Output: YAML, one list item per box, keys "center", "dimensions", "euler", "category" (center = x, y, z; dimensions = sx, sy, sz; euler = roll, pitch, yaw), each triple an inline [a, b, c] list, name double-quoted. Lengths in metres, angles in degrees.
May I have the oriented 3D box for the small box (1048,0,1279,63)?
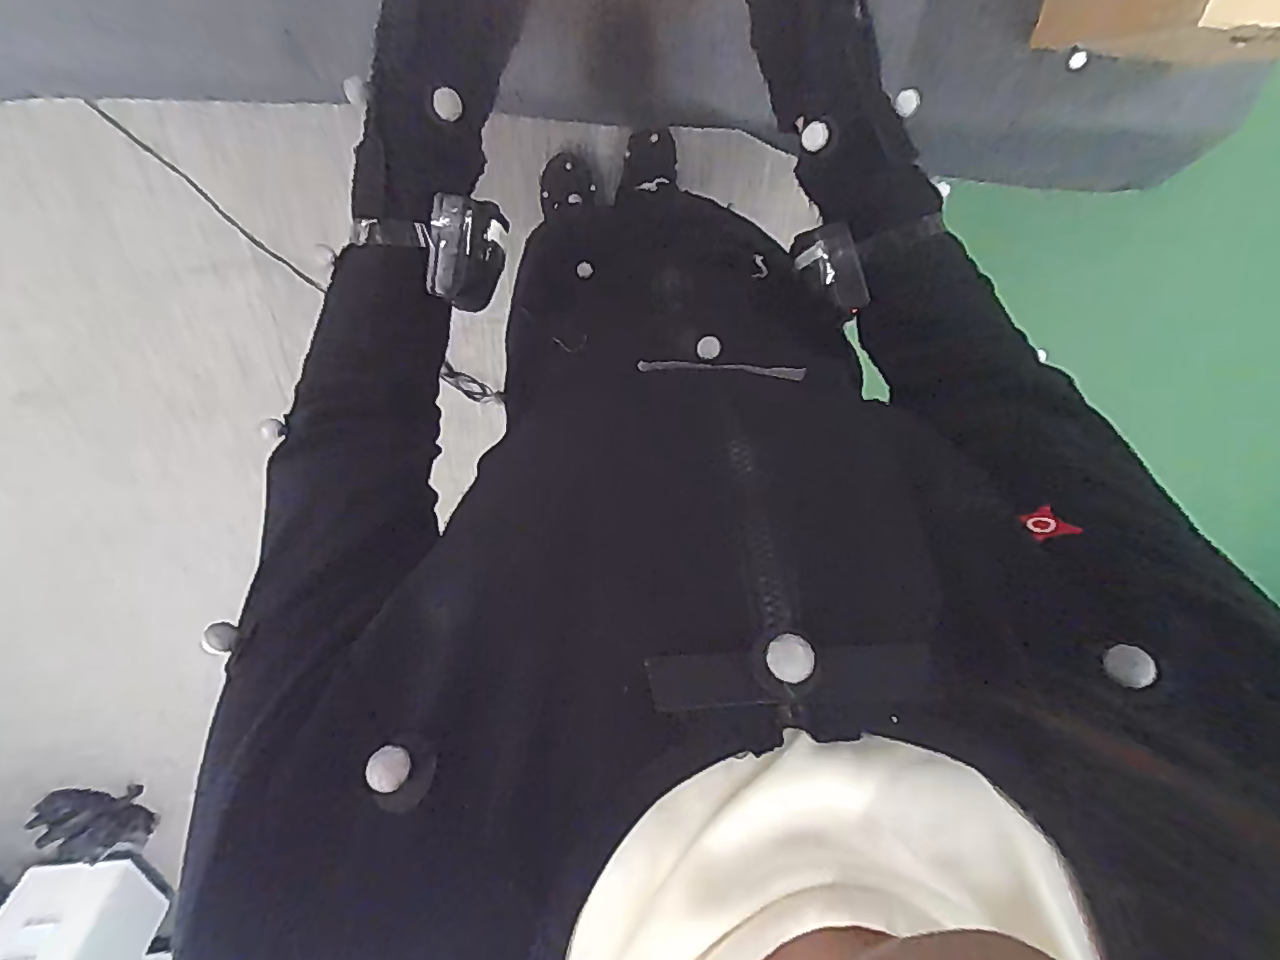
- center: [0.448, -0.417, 0.387]
  dimensions: [0.168, 0.176, 0.179]
  euler: [0, 124, -7]
  category: "small box"
